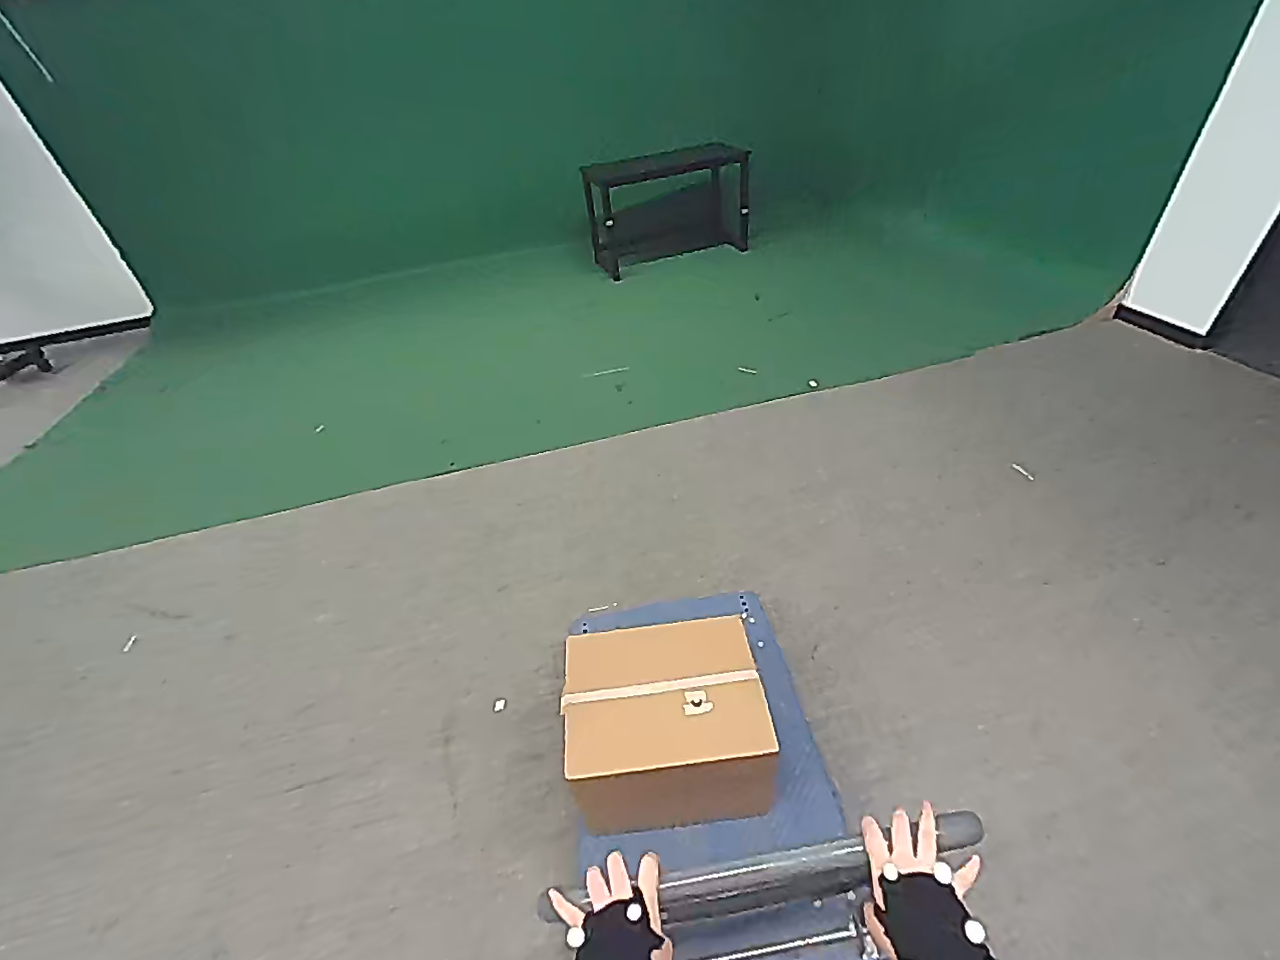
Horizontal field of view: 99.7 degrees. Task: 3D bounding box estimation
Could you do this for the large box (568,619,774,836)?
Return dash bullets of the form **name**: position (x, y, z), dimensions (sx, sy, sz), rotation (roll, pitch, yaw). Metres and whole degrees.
- **large box**: position (0.056, 0.558, 1.229), dimensions (0.408, 0.320, 0.320), rotation (-6, 39, -2)
